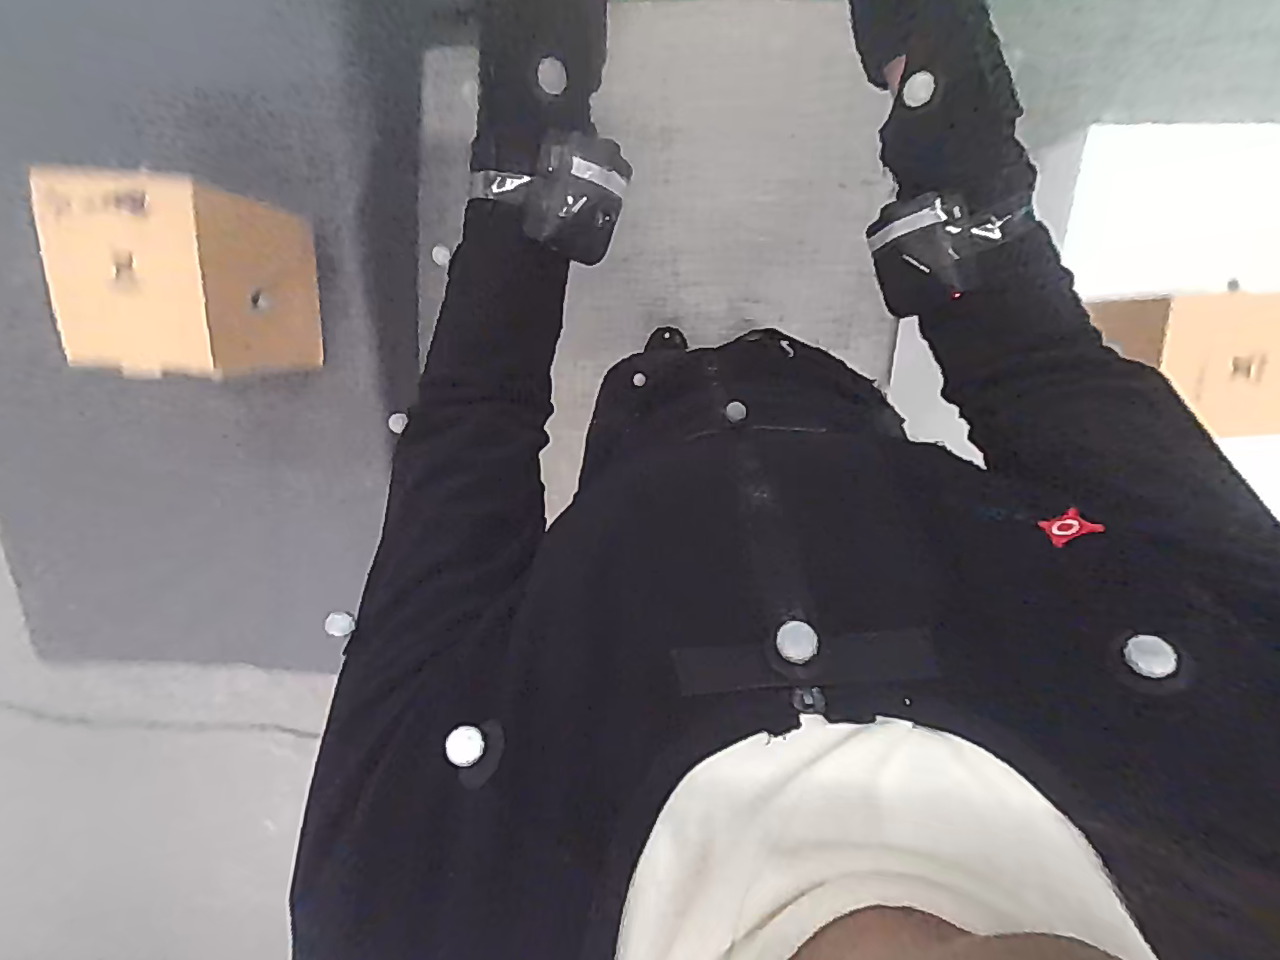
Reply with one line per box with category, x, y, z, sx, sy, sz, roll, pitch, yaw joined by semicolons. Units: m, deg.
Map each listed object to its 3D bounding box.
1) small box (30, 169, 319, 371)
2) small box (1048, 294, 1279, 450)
small box;-0.487;-0.222;0.598;0.168;0.176;0.179;6;106;5
small box;0.650;-0.135;0.656;0.179;0.176;0.168;-1;104;7
